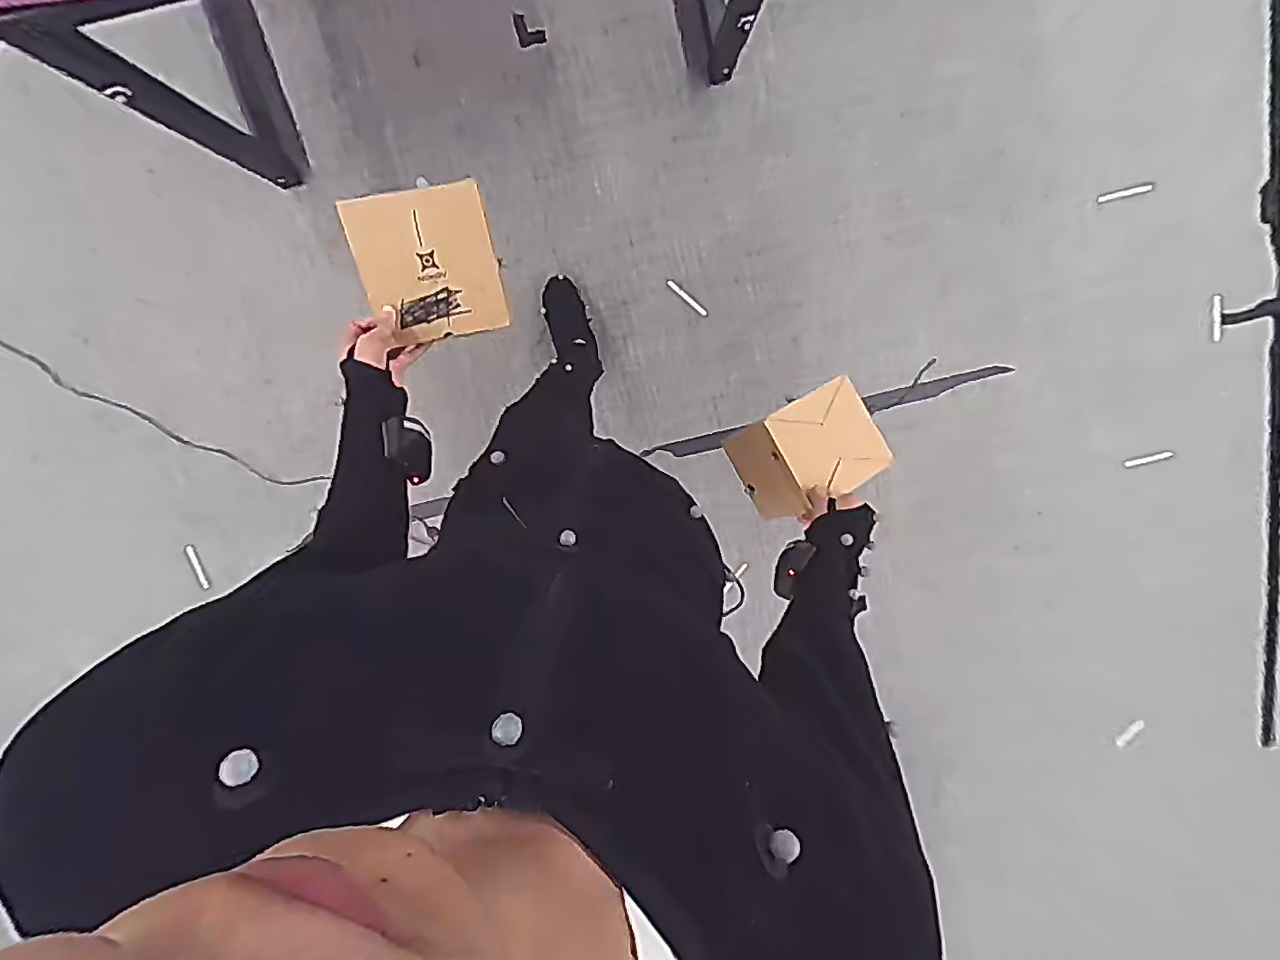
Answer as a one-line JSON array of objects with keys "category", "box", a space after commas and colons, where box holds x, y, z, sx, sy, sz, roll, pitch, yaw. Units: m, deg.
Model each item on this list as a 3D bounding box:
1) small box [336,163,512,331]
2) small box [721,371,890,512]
[{"category": "small box", "box": [-0.273, -0.317, 0.734, 0.168, 0.176, 0.179, -12, 117, -7]}, {"category": "small box", "box": [0.272, -0.062, 0.899, 0.179, 0.176, 0.168, -29, 89, -17]}]
